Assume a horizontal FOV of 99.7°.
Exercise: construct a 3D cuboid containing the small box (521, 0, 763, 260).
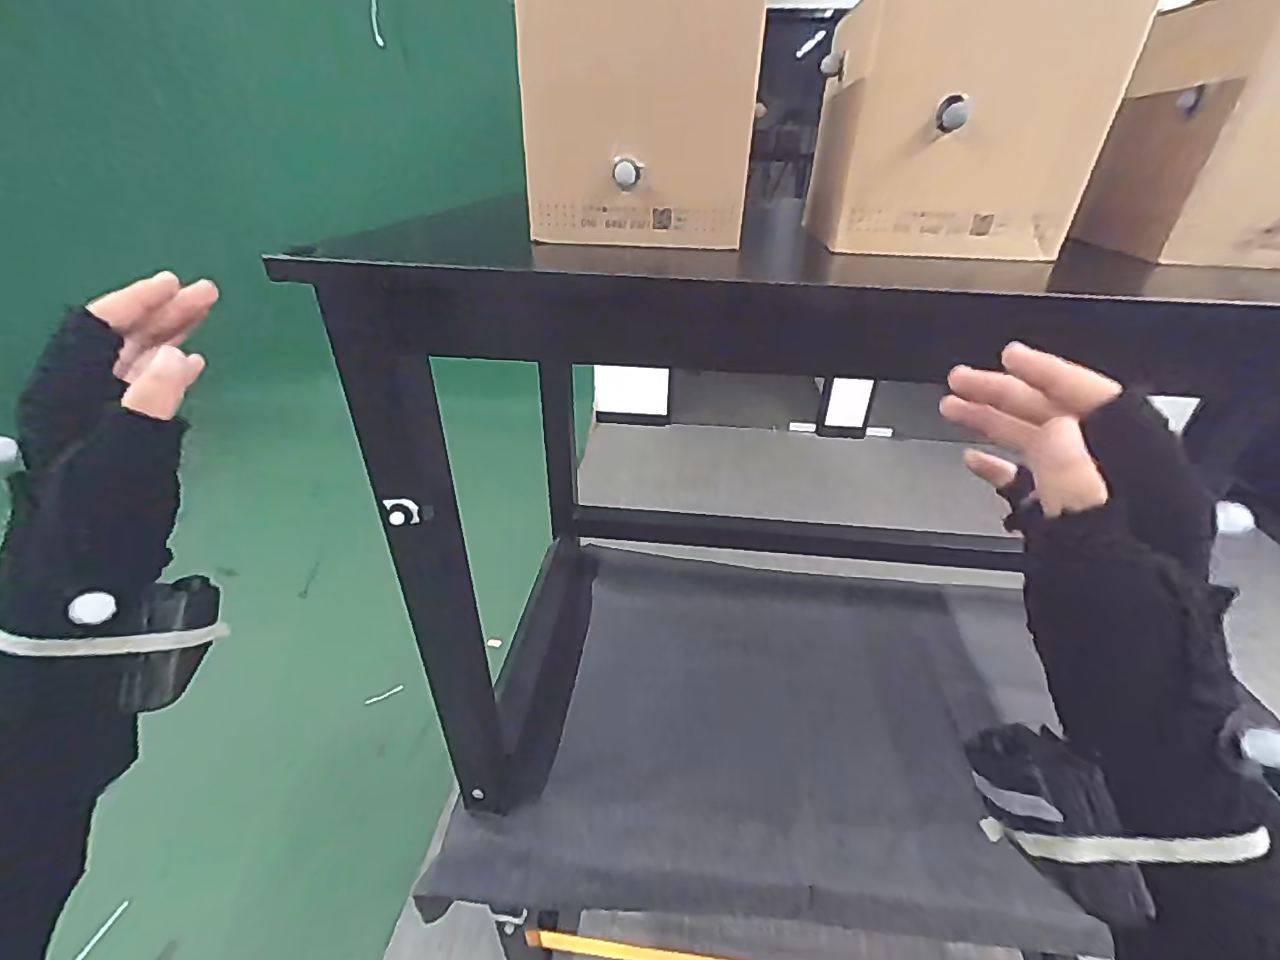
[{"bbox_3d":[0.004,-0.297,0.465,0.168,0.176,0.179,4,33,3],"label":"small box"}]
